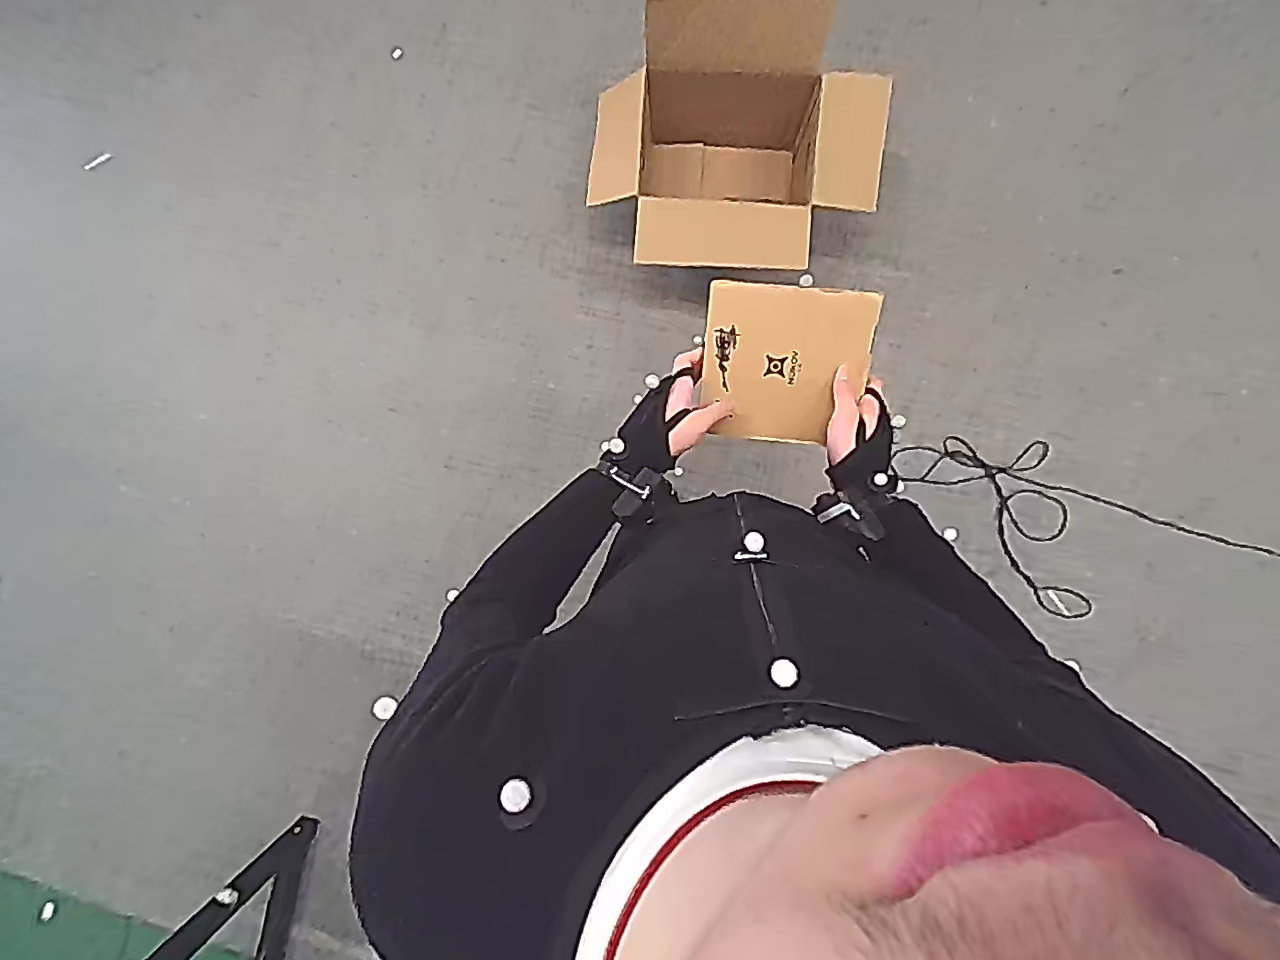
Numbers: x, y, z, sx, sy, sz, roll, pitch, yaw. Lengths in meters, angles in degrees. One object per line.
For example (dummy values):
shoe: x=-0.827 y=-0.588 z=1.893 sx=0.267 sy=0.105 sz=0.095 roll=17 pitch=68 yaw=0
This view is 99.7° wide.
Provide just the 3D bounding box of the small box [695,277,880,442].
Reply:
small box: x=0.166 y=-0.155 z=0.661 sx=0.179 sy=0.176 sz=0.168 roll=7 pitch=111 yaw=8
